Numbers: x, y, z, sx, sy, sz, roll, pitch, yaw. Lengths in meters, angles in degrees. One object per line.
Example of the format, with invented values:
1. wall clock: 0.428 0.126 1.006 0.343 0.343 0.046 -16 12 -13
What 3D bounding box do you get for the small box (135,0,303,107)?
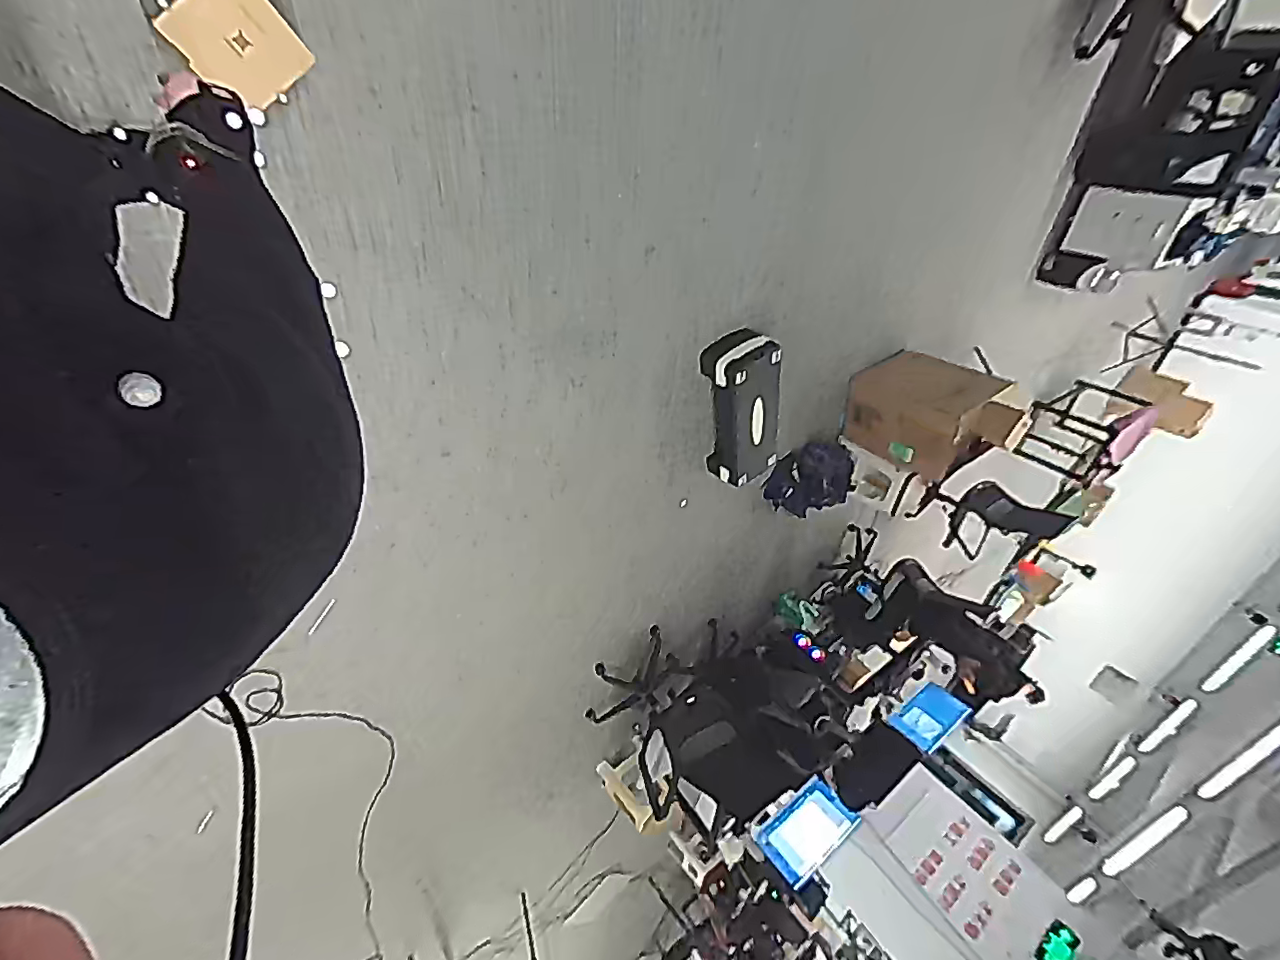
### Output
1. small box: -0.757 -0.813 0.975 0.179 0.176 0.168 -48 142 -5
